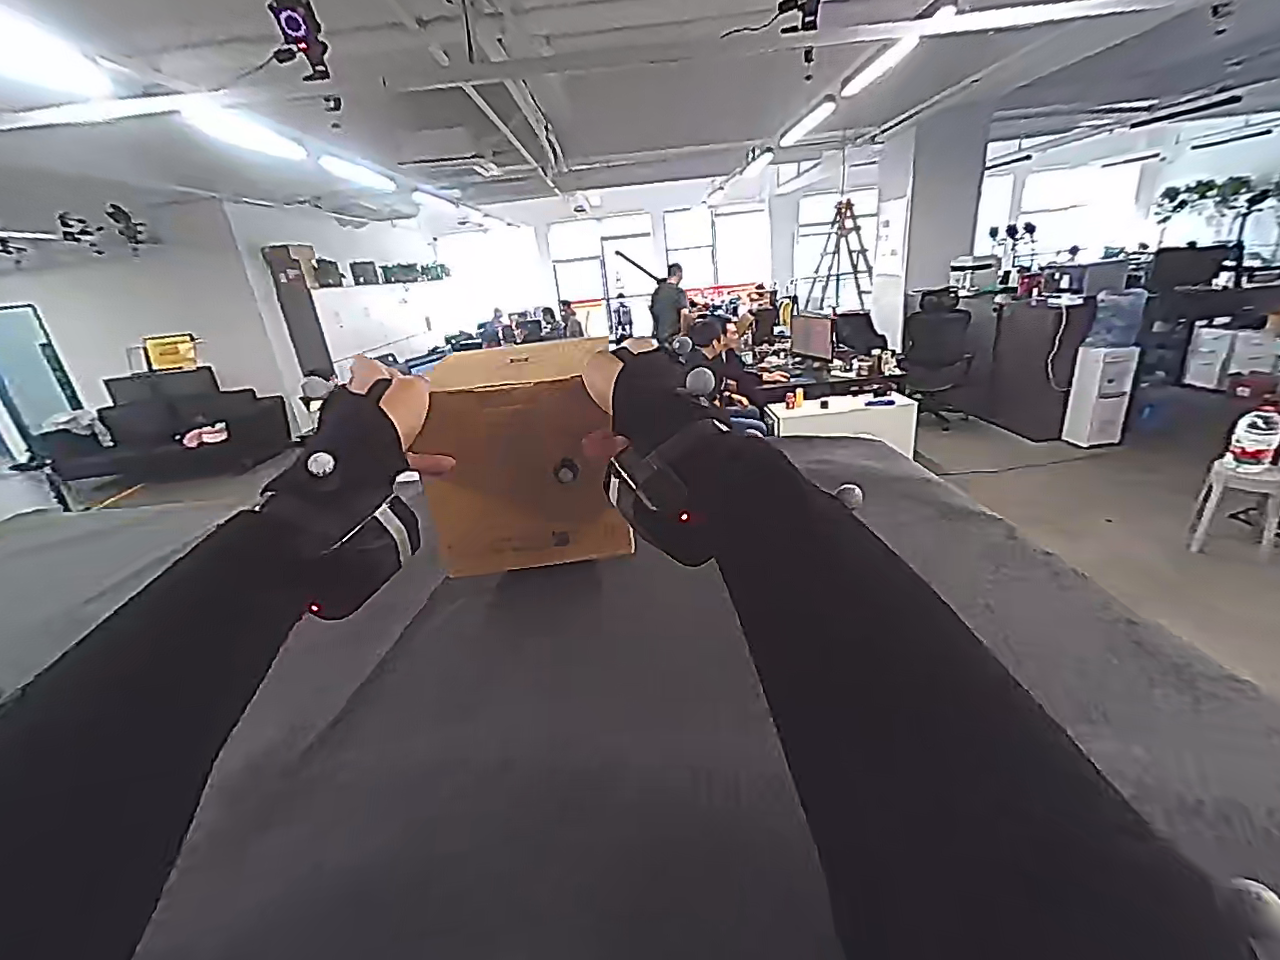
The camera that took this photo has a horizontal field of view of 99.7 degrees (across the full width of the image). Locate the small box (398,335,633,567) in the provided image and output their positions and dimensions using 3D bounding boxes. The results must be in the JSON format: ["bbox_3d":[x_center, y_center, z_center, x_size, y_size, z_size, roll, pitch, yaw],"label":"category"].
[{"bbox_3d":[-0.099,-0.029,0.516,0.168,0.176,0.179,-7,25,-1],"label":"small box"}]
